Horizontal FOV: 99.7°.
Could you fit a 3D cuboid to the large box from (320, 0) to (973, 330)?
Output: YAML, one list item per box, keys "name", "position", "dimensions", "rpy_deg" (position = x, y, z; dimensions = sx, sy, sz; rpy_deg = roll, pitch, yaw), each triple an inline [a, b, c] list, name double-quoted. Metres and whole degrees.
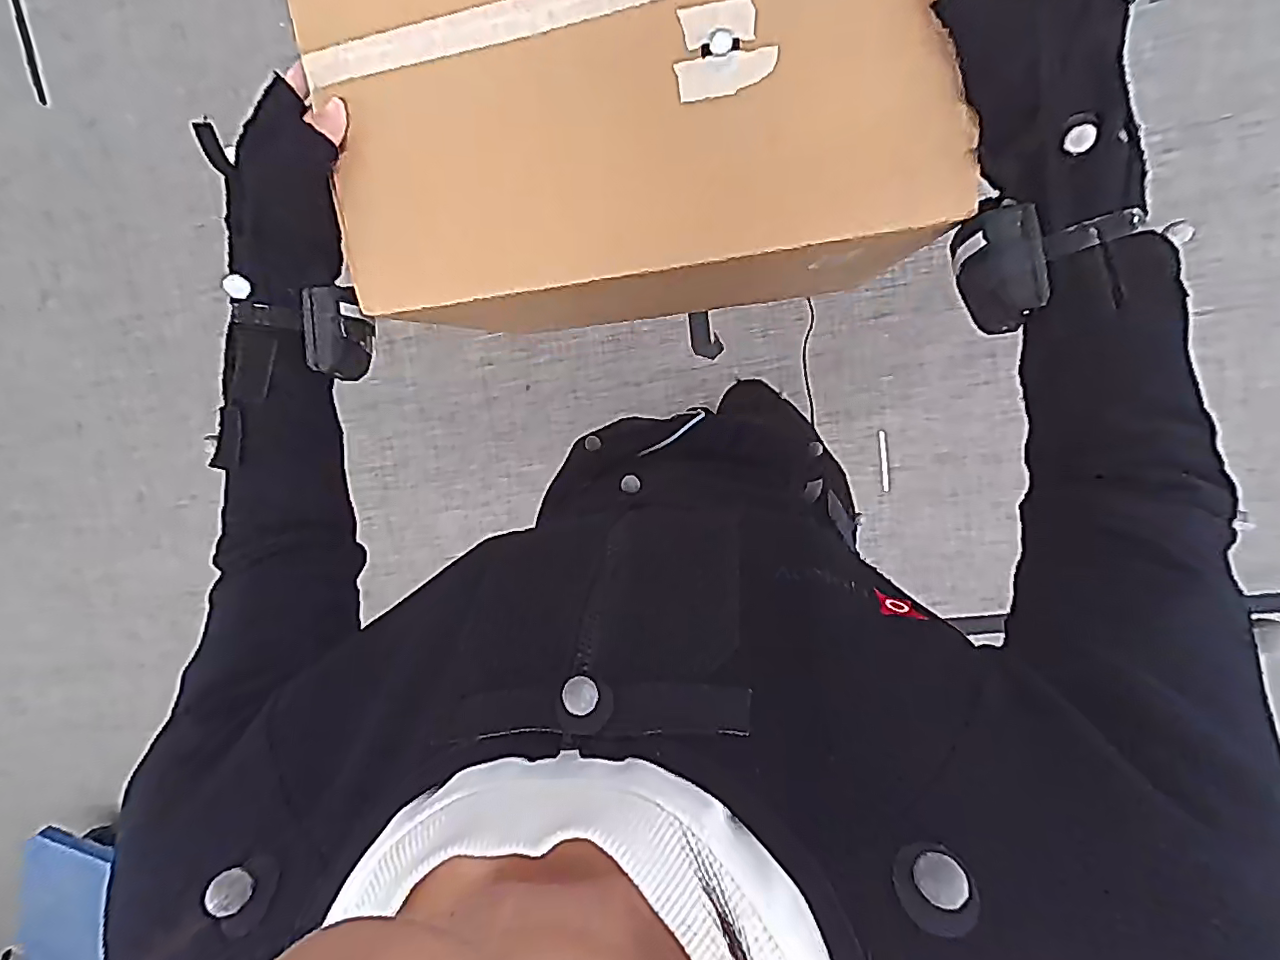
- name: "large box"
  position: [0.007, -0.327, 0.476]
  dimensions: [0.408, 0.320, 0.320]
  rpy_deg: [-6, 102, 10]
